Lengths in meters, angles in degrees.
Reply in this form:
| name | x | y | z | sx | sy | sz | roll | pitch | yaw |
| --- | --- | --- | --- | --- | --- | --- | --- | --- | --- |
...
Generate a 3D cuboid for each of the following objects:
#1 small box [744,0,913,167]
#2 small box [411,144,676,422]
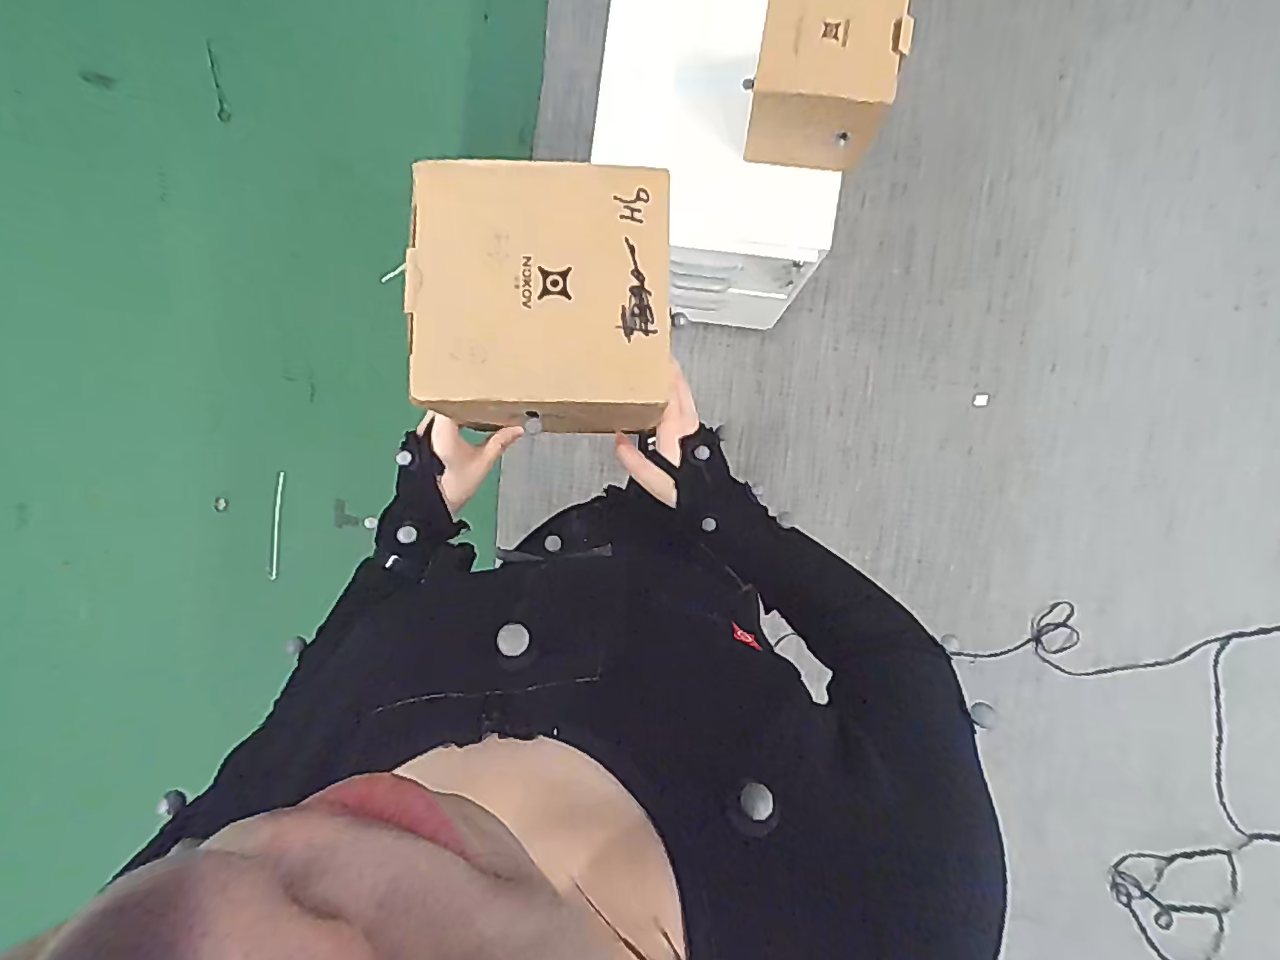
| name | x | y | z | sx | sy | sz | roll | pitch | yaw |
| --- | --- | --- | --- | --- | --- | --- | --- | --- | --- |
| small box | 0.250 | -0.562 | 0.748 | 0.179 | 0.176 | 0.168 | 9 | 93 | 5 |
| small box | -0.066 | -0.140 | 0.443 | 0.179 | 0.176 | 0.168 | 1 | 88 | -2 |
